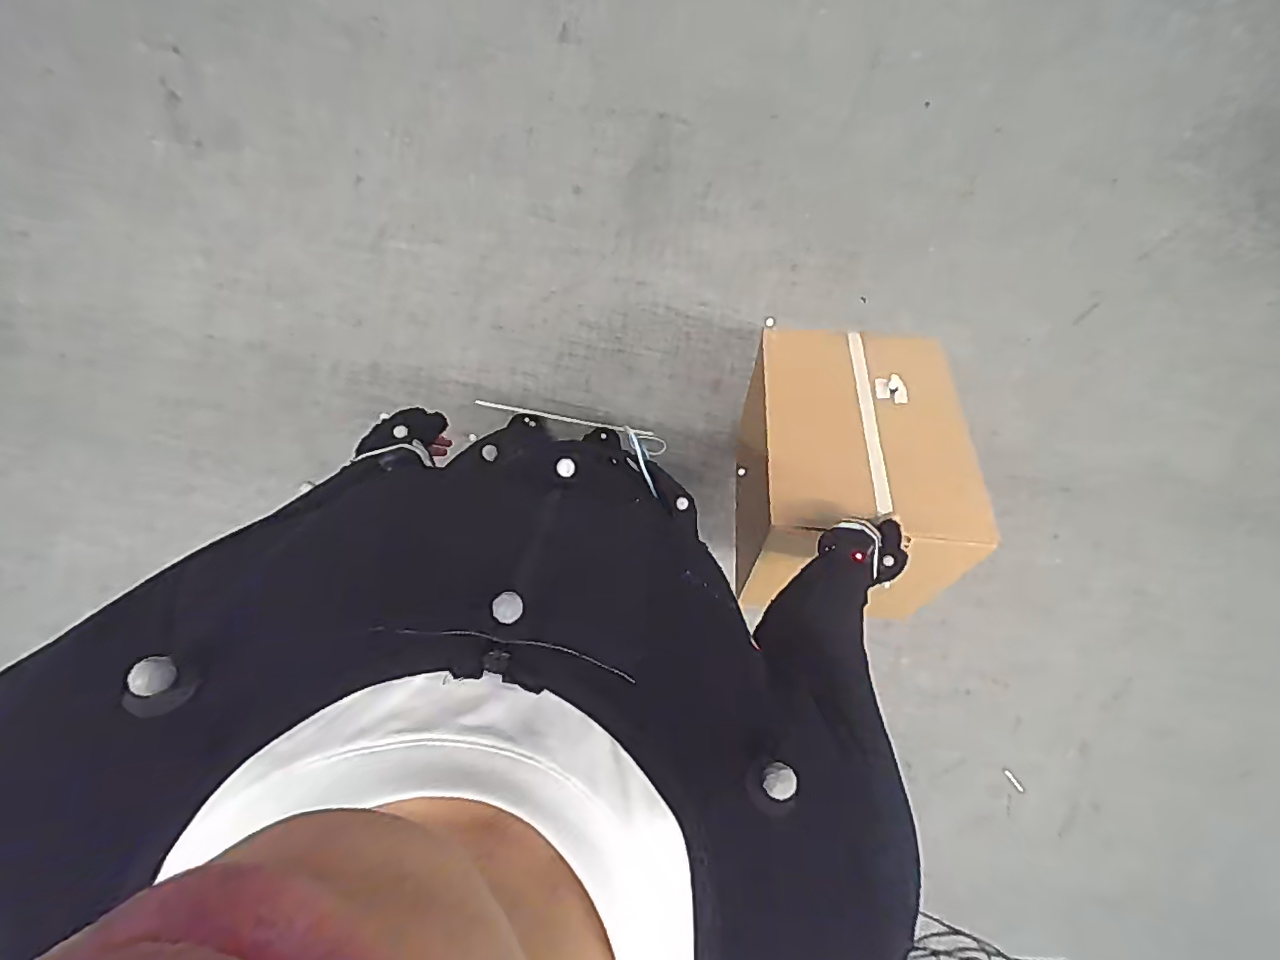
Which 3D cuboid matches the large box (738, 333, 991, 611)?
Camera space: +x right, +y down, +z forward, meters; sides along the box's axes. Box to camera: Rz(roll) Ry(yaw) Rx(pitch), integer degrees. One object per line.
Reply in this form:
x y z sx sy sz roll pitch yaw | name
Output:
0.355 -0.008 0.990 0.320 0.320 0.408 5 56 2 | large box
